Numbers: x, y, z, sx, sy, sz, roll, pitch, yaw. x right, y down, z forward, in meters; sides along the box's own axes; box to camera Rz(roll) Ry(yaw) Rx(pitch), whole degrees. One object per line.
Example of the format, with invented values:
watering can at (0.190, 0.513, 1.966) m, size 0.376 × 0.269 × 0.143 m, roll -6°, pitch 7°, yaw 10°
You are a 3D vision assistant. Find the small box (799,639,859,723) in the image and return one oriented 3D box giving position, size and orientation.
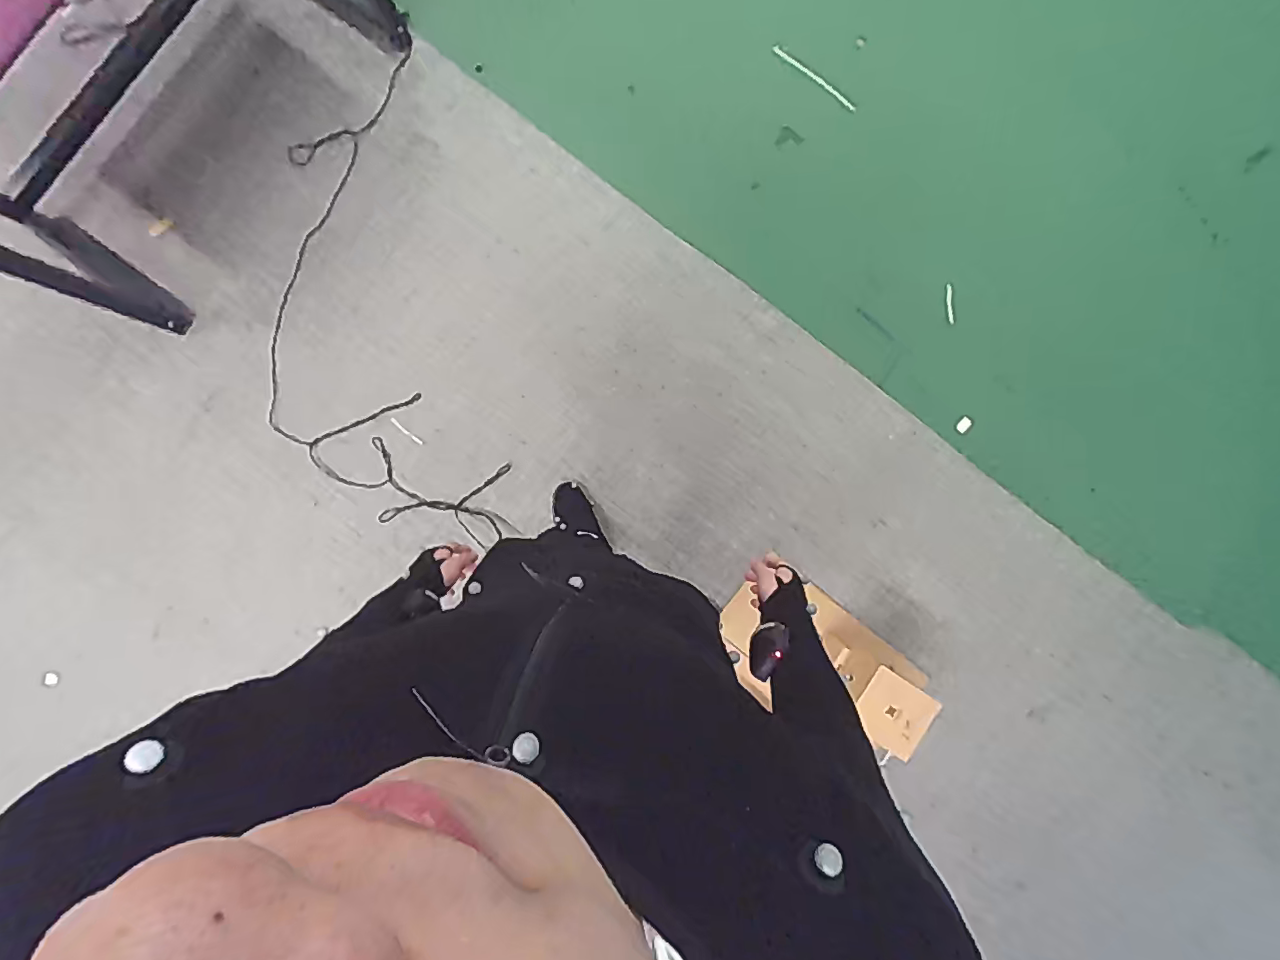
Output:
small box at (0.580, 0.573, 1.517) m, size 0.179 × 0.176 × 0.168 m, roll 33°, pitch 89°, yaw 1°

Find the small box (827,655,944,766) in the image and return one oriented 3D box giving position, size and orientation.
small box at (0.601, 0.562, 1.352) m, size 0.179 × 0.176 × 0.168 m, roll 34°, pitch 90°, yaw 1°
